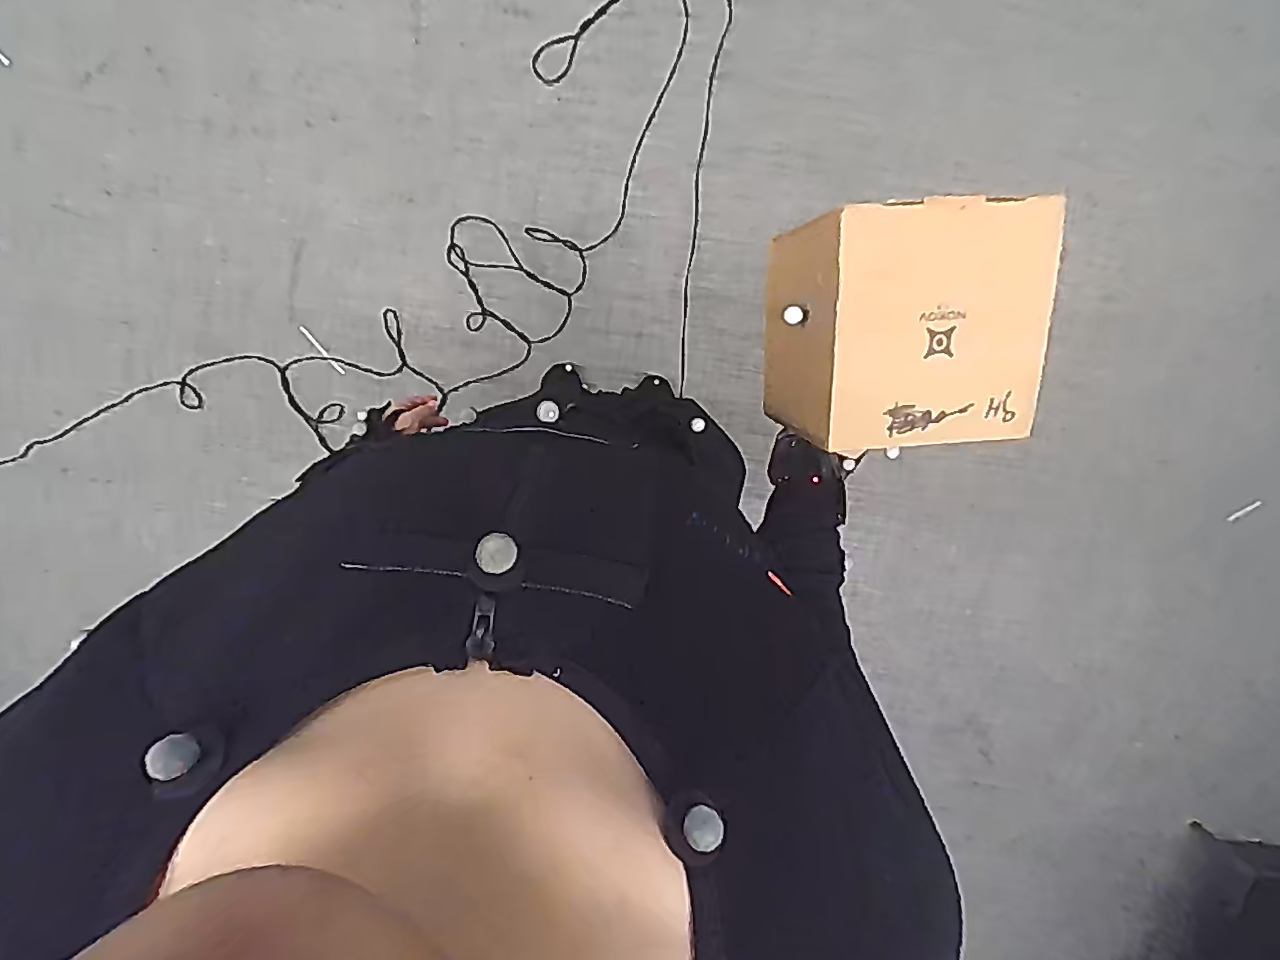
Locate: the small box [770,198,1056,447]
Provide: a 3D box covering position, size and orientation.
[{"bbox_3d":[0.219,-0.135,0.484,0.168,0.176,0.179,-5,105,-3],"label":"small box"}]
